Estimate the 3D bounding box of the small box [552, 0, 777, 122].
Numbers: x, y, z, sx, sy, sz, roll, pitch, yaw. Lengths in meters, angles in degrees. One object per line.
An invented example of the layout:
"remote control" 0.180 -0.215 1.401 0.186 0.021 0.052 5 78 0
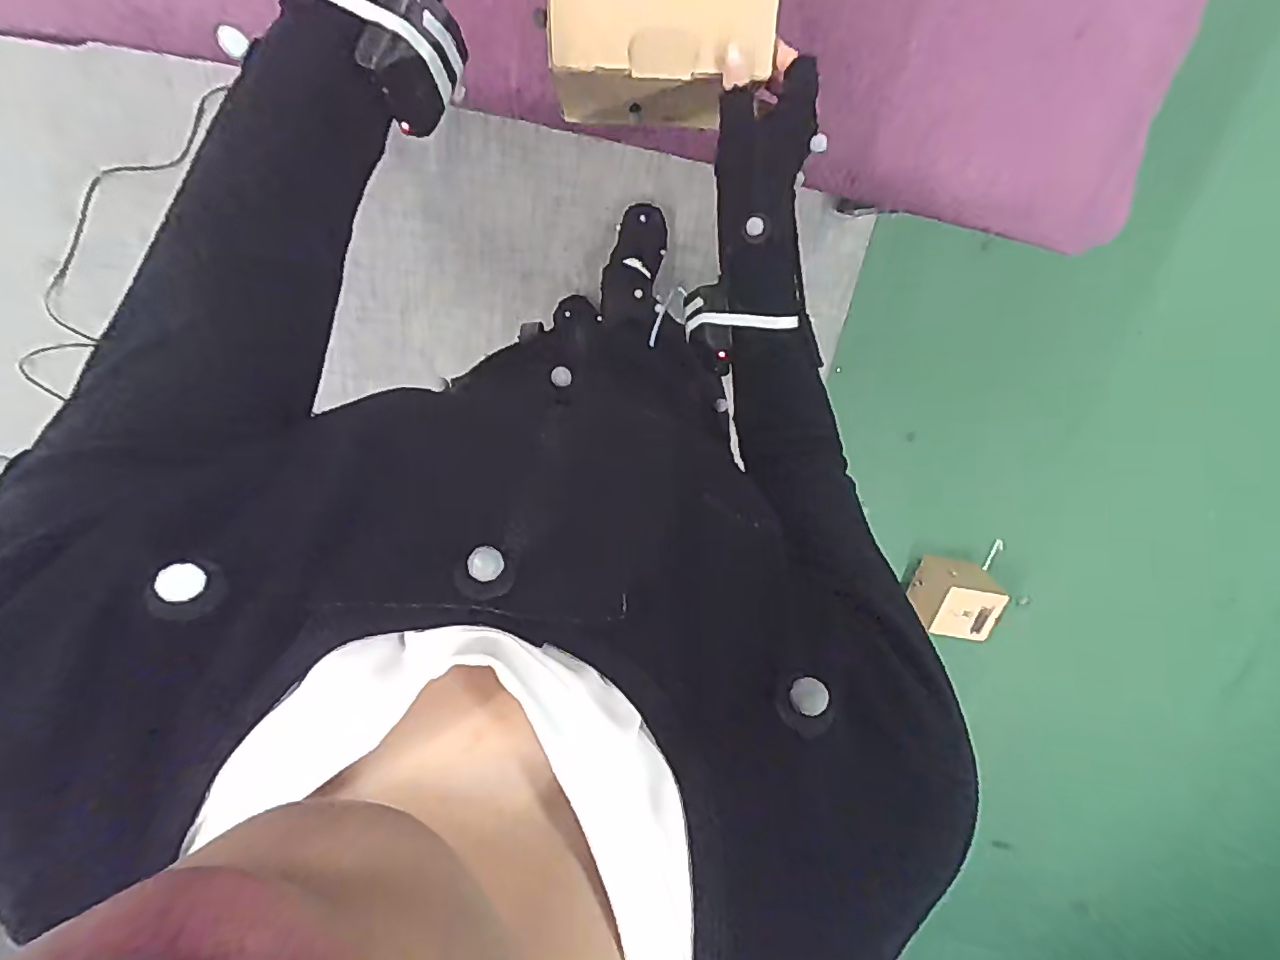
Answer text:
"small box" 0.015 -0.418 0.443 0.168 0.176 0.179 1 114 -4
